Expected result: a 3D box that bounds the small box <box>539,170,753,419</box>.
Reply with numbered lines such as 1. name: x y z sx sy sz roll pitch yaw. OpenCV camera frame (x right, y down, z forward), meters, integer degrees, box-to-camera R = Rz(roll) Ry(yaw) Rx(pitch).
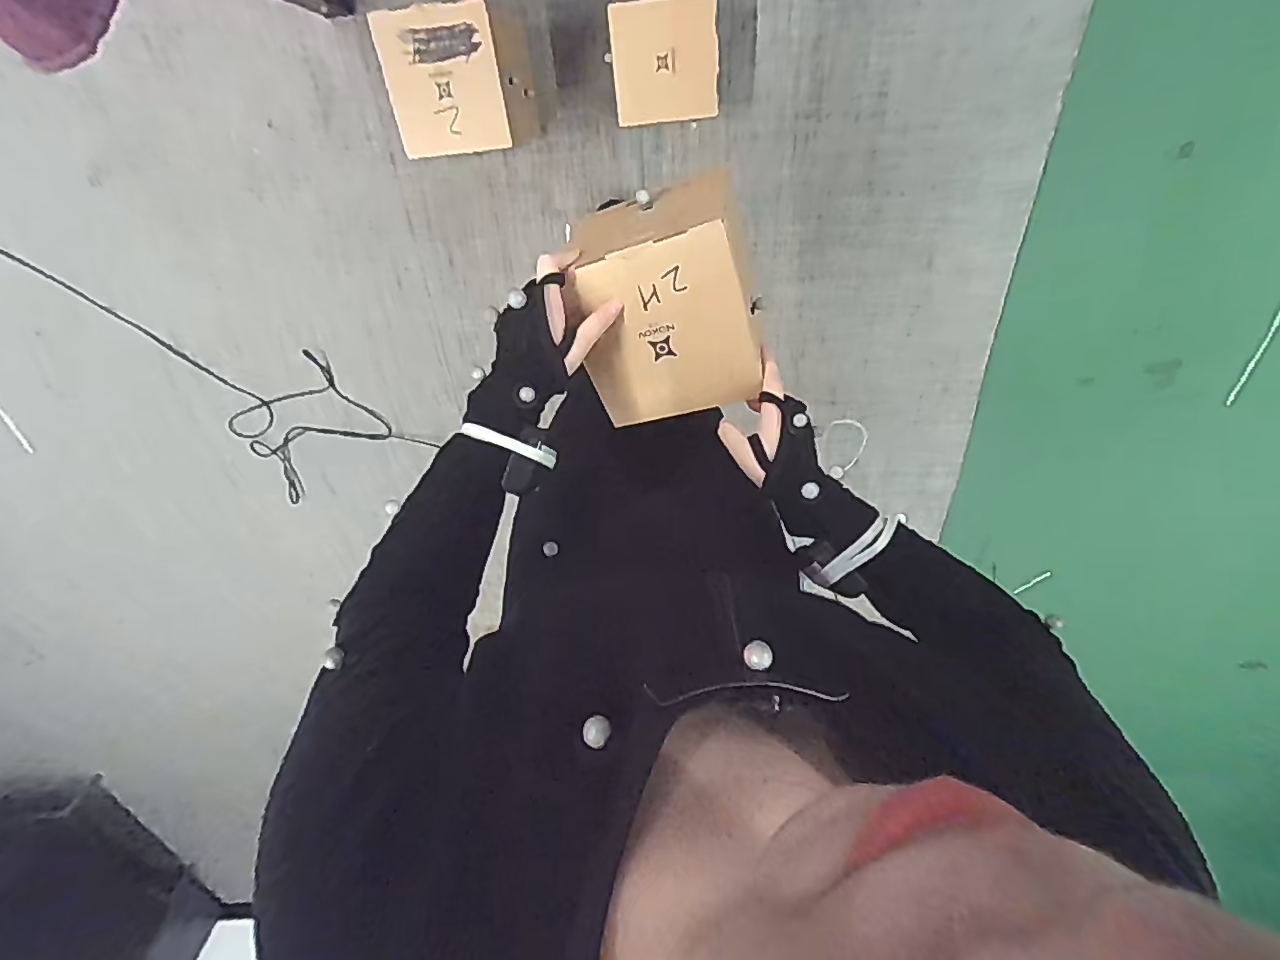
1. small box: 0.023 -0.194 0.575 0.168 0.176 0.179 -9 130 20
